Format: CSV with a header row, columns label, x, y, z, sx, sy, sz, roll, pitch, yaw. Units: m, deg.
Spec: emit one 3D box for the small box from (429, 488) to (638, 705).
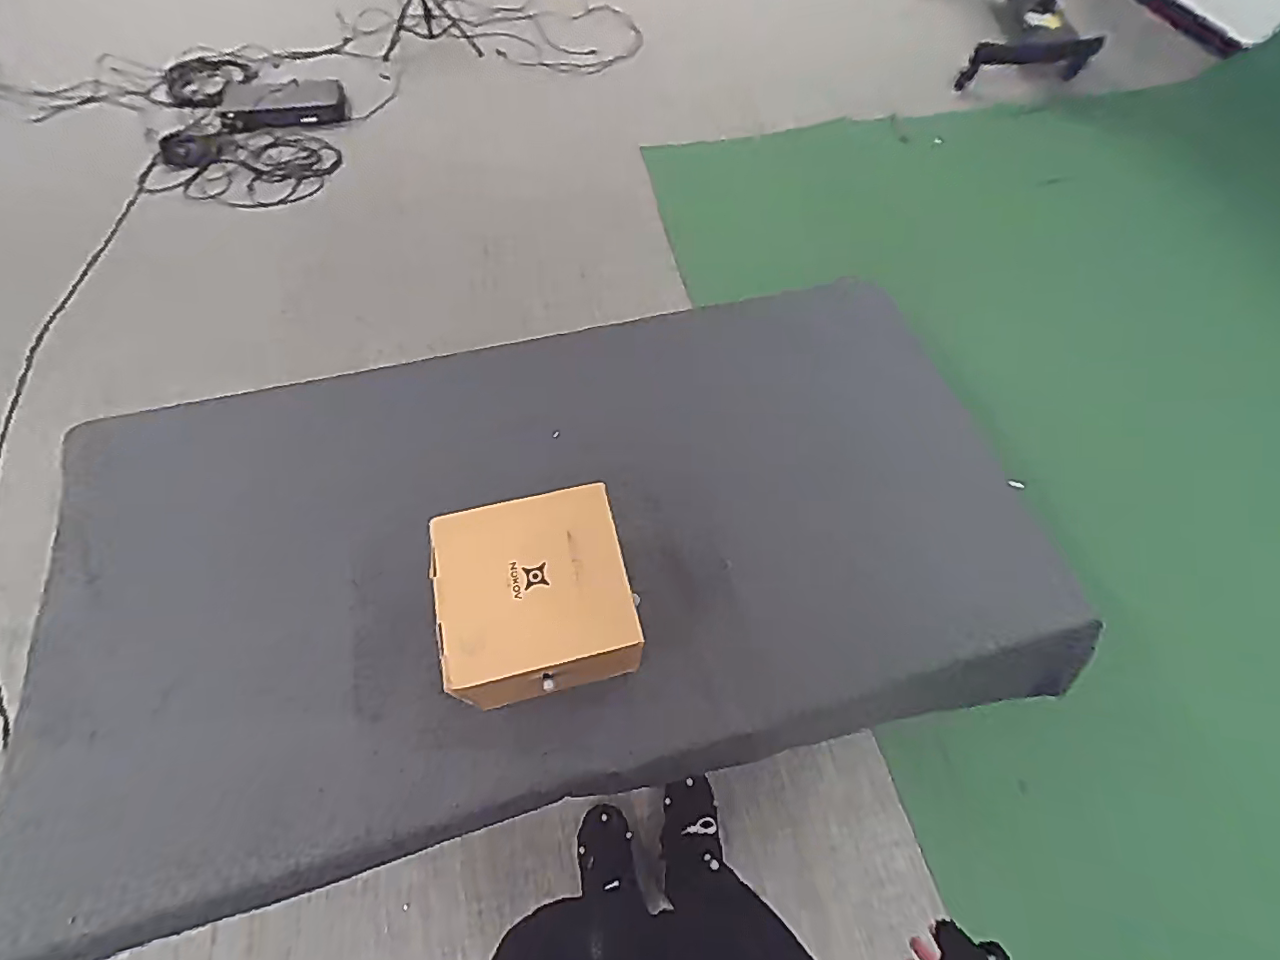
label,x,y,z,sx,sy,sz,roll,pitch,yaw
small box,-0.107,0.131,0.577,0.179,0.176,0.168,-12,65,-10
